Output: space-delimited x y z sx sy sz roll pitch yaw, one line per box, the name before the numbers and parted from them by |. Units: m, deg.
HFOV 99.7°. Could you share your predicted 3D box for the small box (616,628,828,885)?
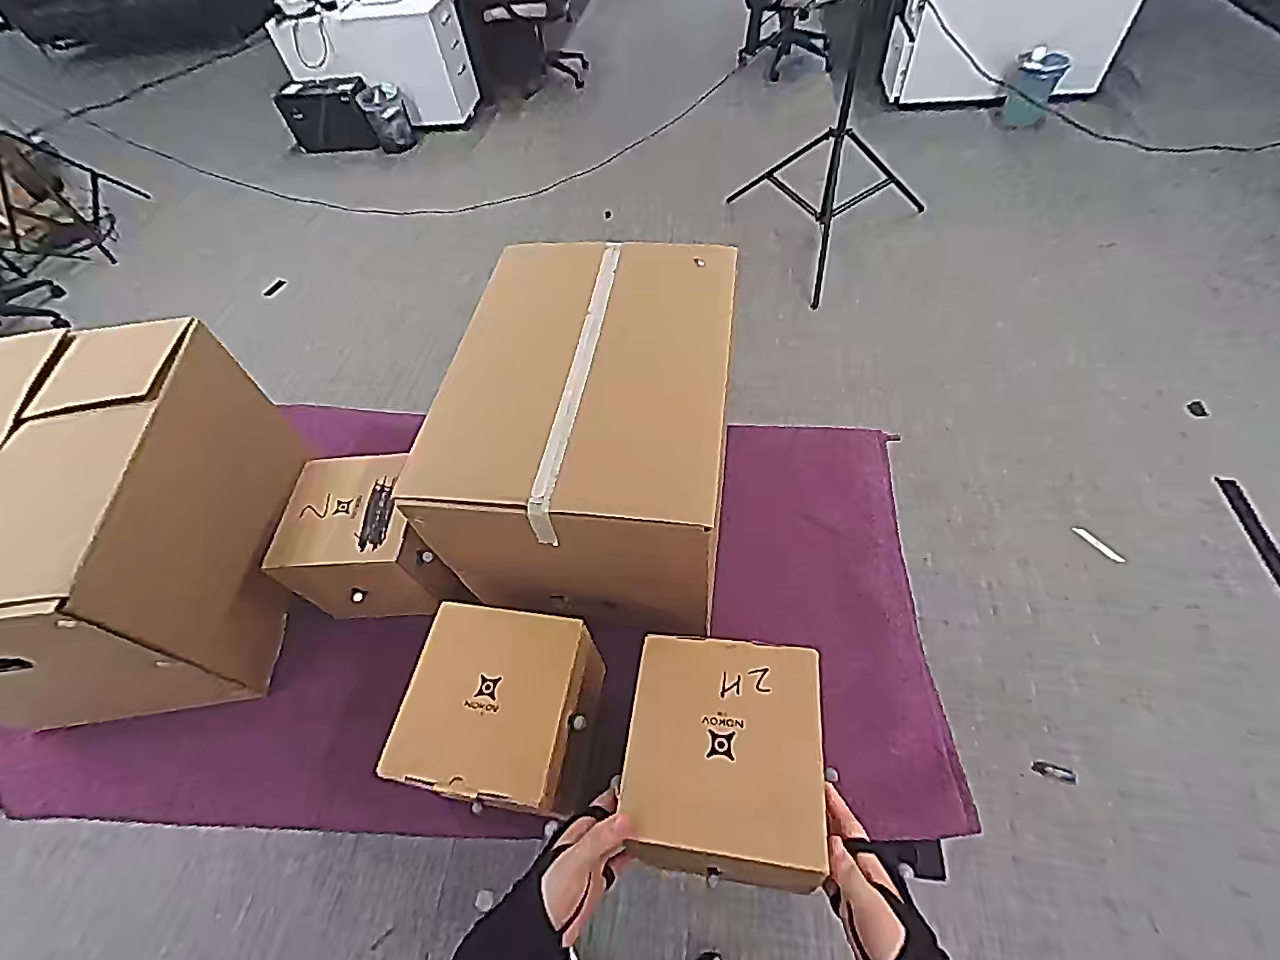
small box | 0.085 0.267 0.522 0.168 0.176 0.179 2 48 12
